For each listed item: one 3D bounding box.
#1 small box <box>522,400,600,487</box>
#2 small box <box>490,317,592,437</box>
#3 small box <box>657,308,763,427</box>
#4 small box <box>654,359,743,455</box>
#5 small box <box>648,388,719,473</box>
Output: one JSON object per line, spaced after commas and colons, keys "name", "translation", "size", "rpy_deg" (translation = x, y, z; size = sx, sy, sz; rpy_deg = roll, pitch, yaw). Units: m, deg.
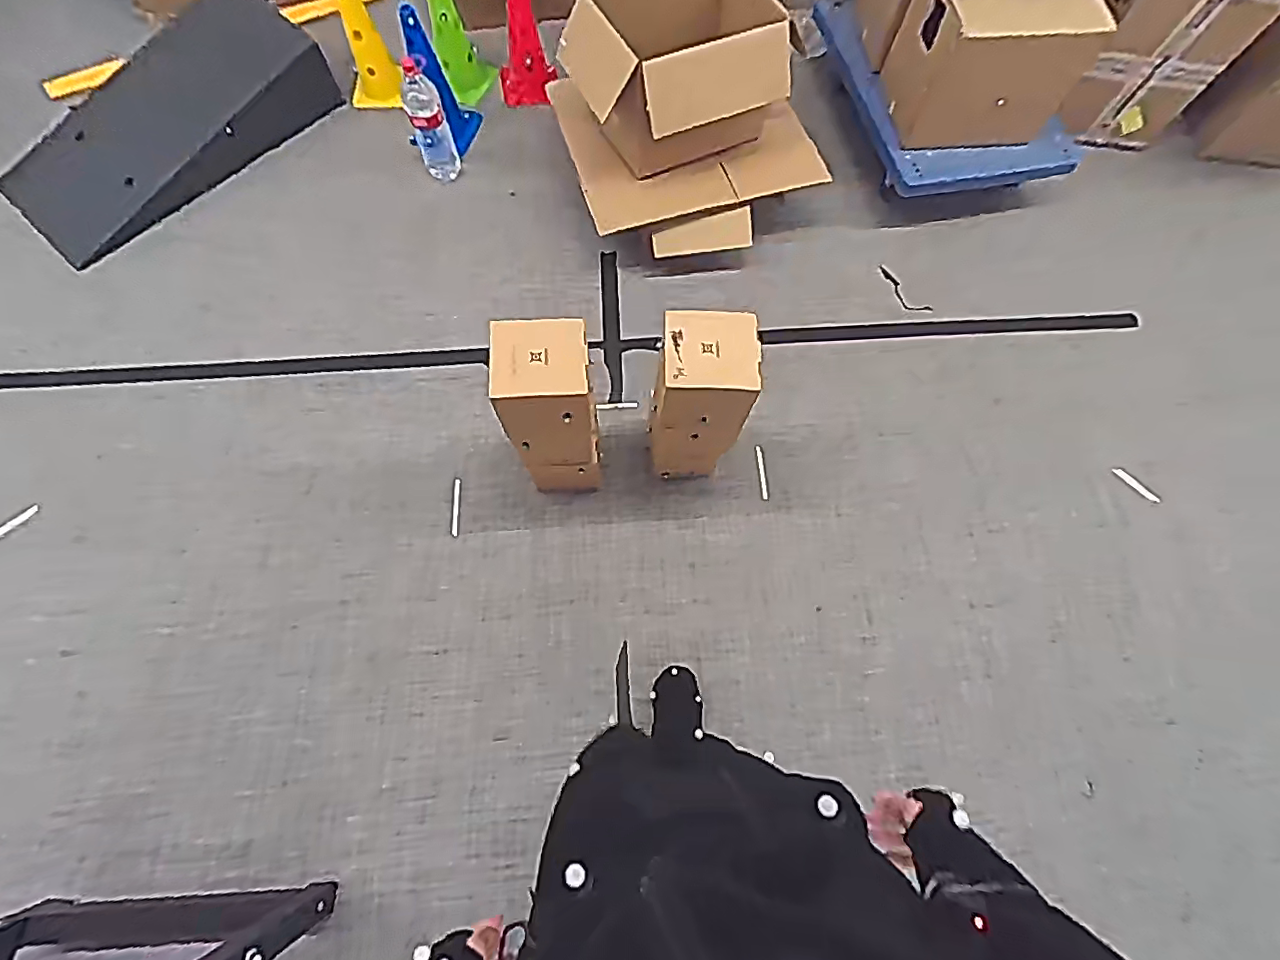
{"name": "small box", "translation": [-0.191, -0.086, 1.350], "size": [0.179, 0.176, 0.168], "rpy_deg": [-2, 70, -3]}
{"name": "small box", "translation": [-0.182, -0.193, 1.041], "size": [0.179, 0.176, 0.168], "rpy_deg": [-4, 69, -3]}
{"name": "small box", "translation": [0.130, -0.211, 1.057], "size": [0.179, 0.176, 0.168], "rpy_deg": [2, 71, -3]}
{"name": "small box", "translation": [0.123, -0.160, 1.213], "size": [0.179, 0.176, 0.168], "rpy_deg": [-1, 71, -3]}
{"name": "small box", "translation": [0.111, -0.122, 1.374], "size": [0.168, 0.176, 0.179], "rpy_deg": [-3, 70, -4]}
